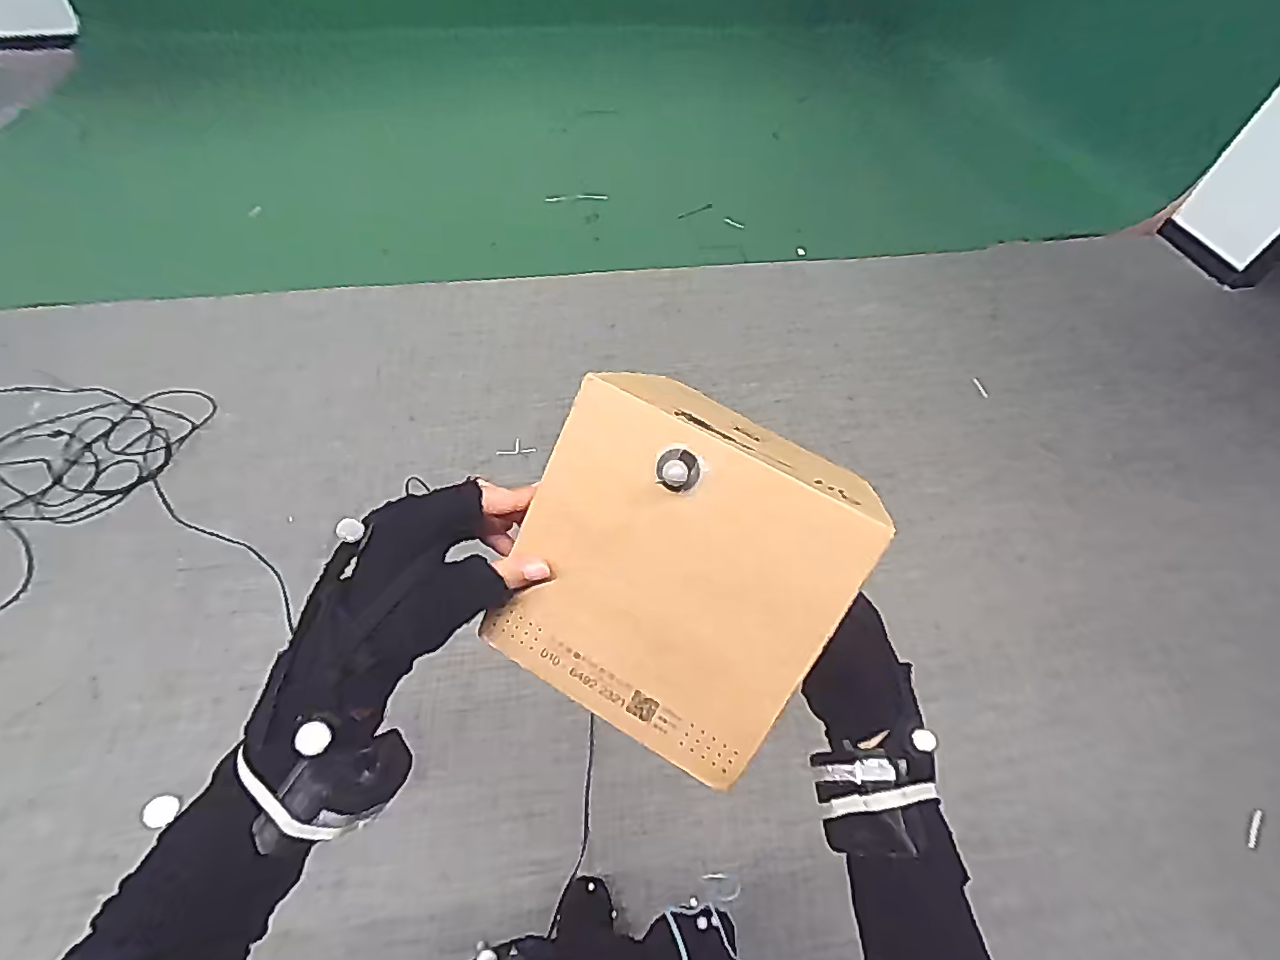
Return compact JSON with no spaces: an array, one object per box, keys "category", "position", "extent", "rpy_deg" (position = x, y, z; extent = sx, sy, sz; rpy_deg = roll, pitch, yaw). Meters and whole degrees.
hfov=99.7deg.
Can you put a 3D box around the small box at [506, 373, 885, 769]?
[{"category":"small box","position":[0.036,0.044,0.368],"extent":[0.168,0.176,0.179],"rpy_deg":[28,15,11]}]
